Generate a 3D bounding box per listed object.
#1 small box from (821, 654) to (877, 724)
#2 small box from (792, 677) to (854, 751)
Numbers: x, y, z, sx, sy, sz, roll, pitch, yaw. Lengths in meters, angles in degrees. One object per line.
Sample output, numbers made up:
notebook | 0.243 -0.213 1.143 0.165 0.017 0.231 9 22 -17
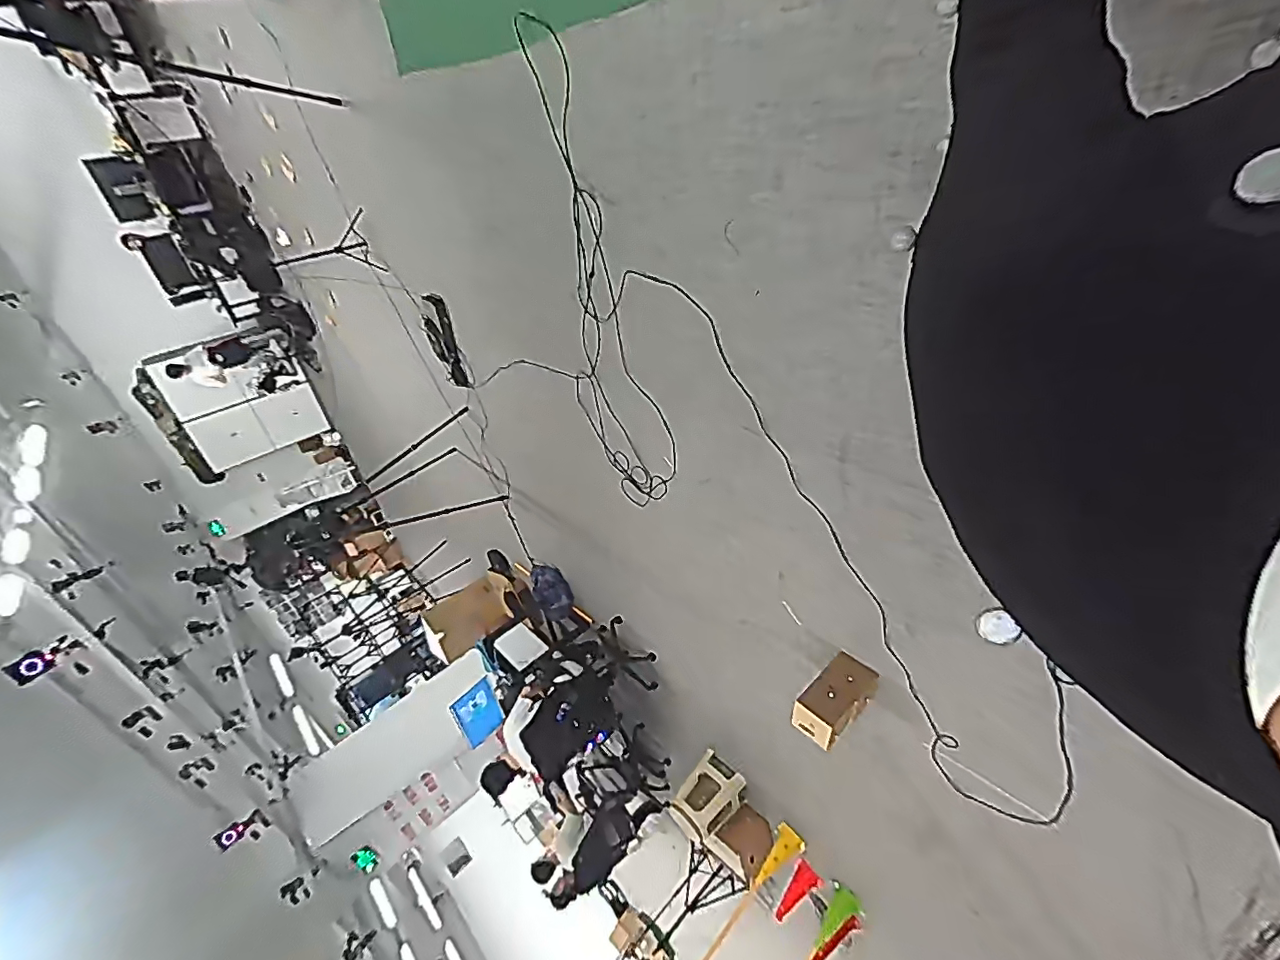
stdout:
small box | 0.862 0.868 2.260 0.179 0.176 0.168 29 138 38
small box | 0.738 0.940 2.178 0.168 0.176 0.179 30 139 38
